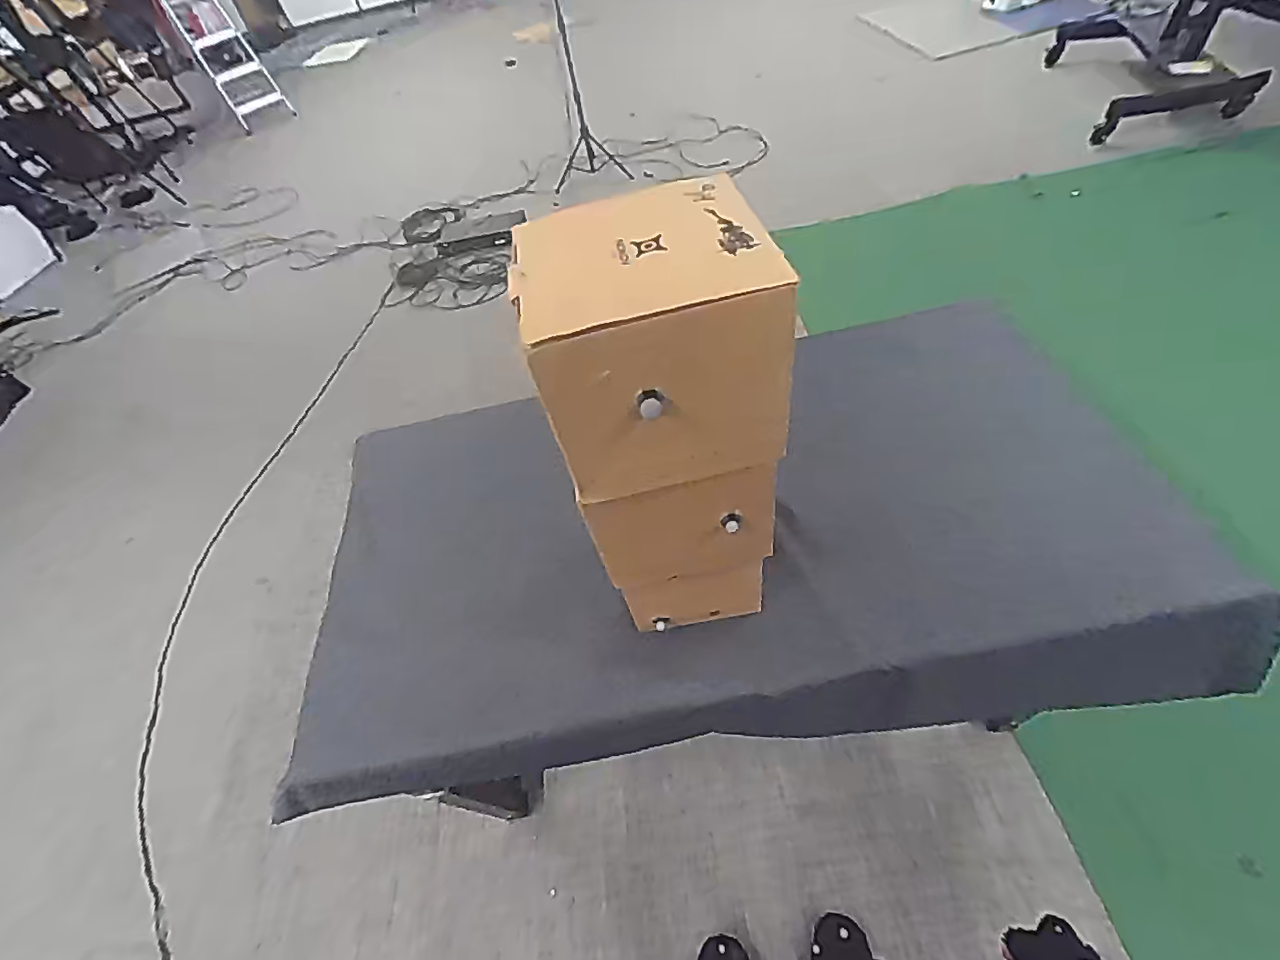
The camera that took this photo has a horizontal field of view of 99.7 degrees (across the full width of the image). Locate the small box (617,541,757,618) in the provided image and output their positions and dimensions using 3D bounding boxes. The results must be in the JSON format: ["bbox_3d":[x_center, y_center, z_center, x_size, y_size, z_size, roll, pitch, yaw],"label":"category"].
[{"bbox_3d":[0.057,0.069,0.715,0.168,0.176,0.179,-10,52,3],"label":"small box"}]

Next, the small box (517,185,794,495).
[{"bbox_3d":[0.012,-0.109,0.448,0.179,0.176,0.168,-15,50,-1],"label":"small box"}]

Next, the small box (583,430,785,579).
[{"bbox_3d":[0.033,-0.021,0.562,0.179,0.176,0.168,-15,52,-1],"label":"small box"}]
